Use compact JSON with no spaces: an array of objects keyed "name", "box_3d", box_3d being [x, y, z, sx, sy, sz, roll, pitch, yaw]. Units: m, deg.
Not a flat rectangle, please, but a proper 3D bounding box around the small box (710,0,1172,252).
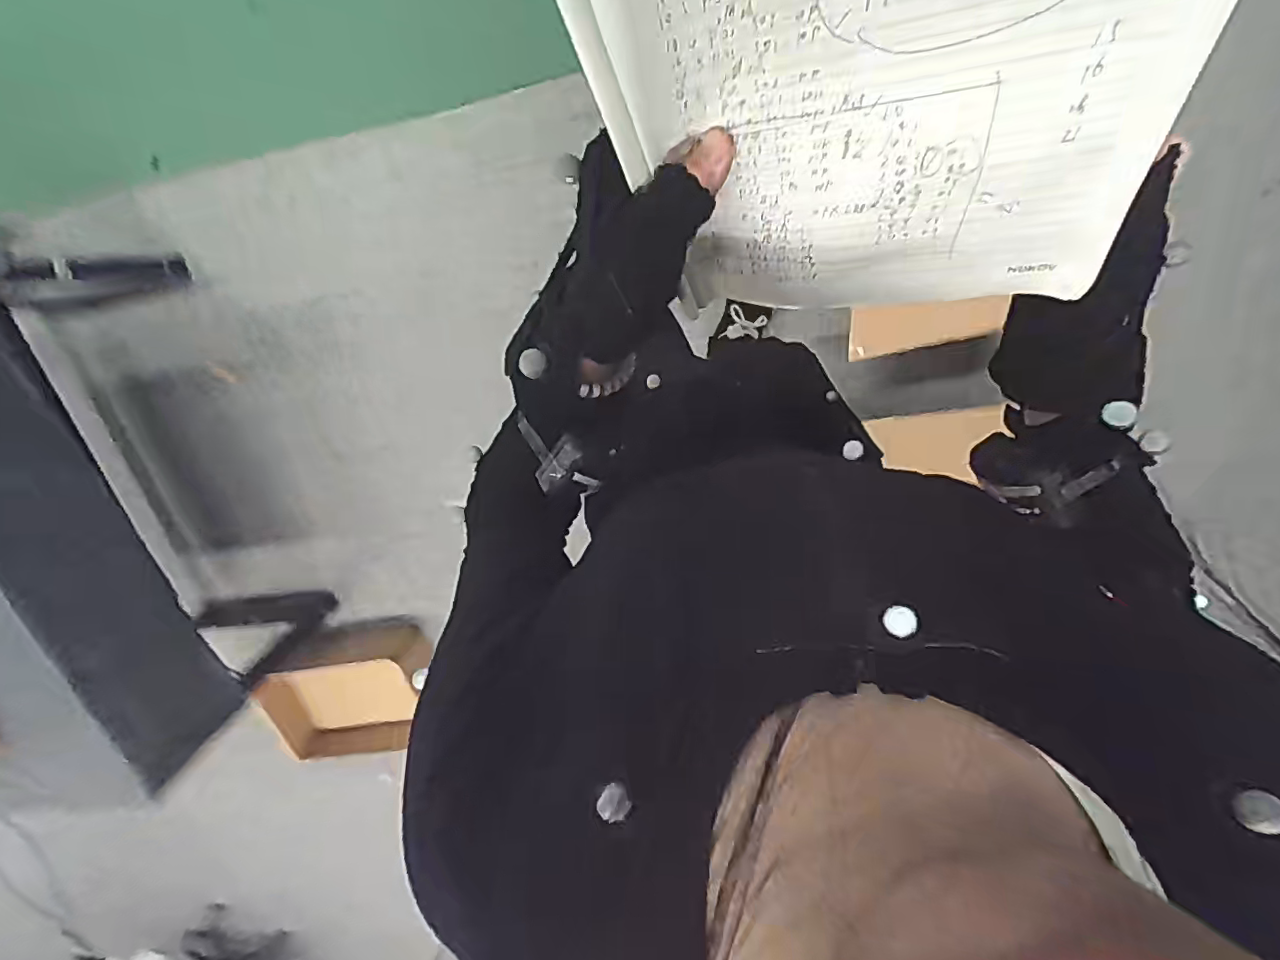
[{"name":"small box","box_3d":[0.131,-0.239,0.263,0.168,0.176,0.179,6,152,16]}]
